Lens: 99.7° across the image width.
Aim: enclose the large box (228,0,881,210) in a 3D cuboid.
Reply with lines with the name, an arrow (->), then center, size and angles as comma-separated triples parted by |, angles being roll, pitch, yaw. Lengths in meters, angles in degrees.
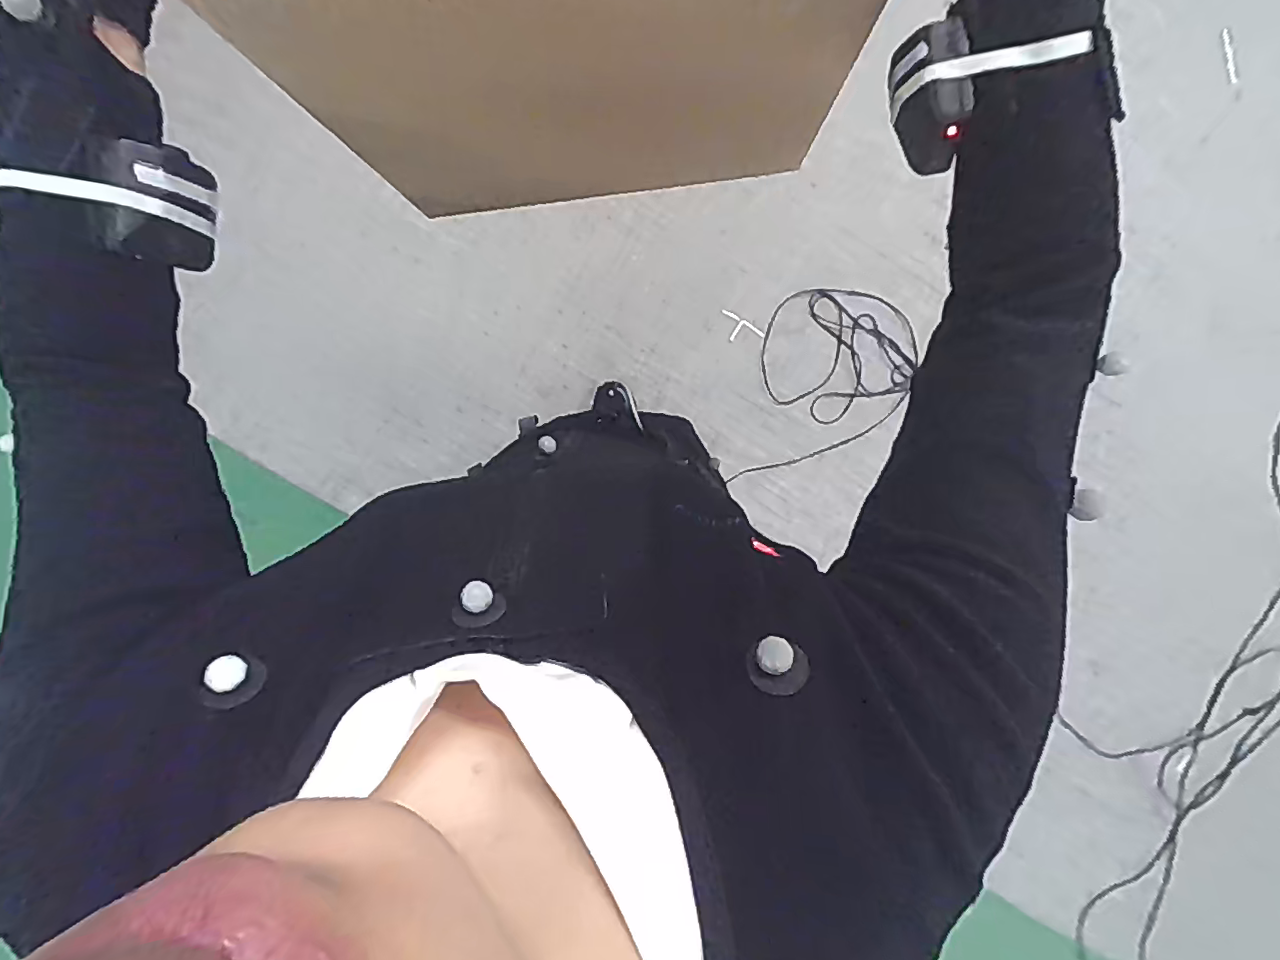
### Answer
large box -> -0.049, -0.448, 0.414 | 0.408, 0.320, 0.320 | -6, 96, 3
